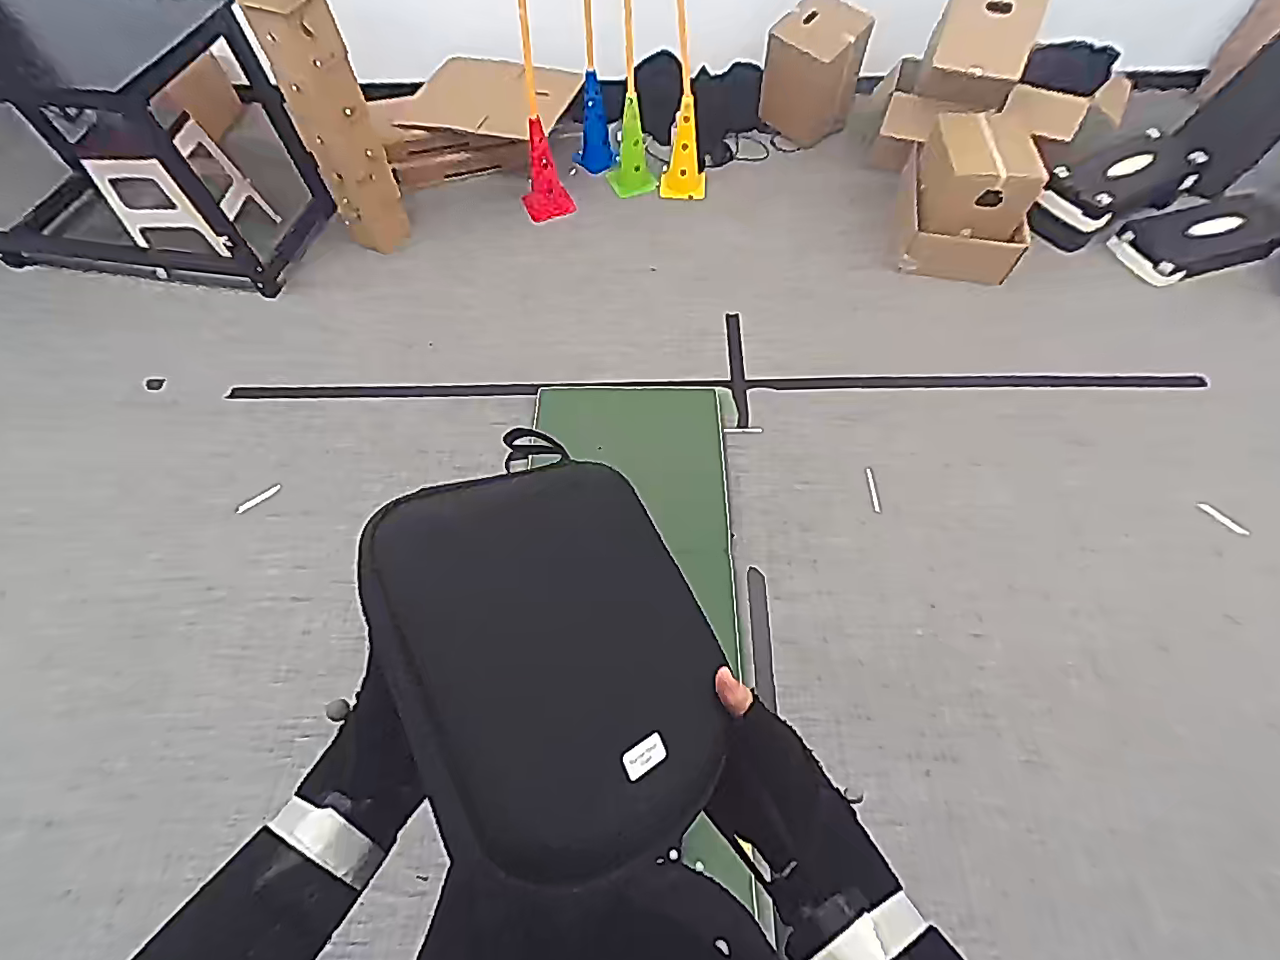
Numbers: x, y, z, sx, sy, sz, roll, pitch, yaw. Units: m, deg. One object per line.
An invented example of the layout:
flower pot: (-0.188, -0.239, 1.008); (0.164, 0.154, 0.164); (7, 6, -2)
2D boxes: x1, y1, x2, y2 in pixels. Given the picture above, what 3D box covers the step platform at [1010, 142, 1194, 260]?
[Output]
step platform: (1.915, -1.166, 2.243); (0.684, 0.204, 0.286); (-26, 63, -13)
